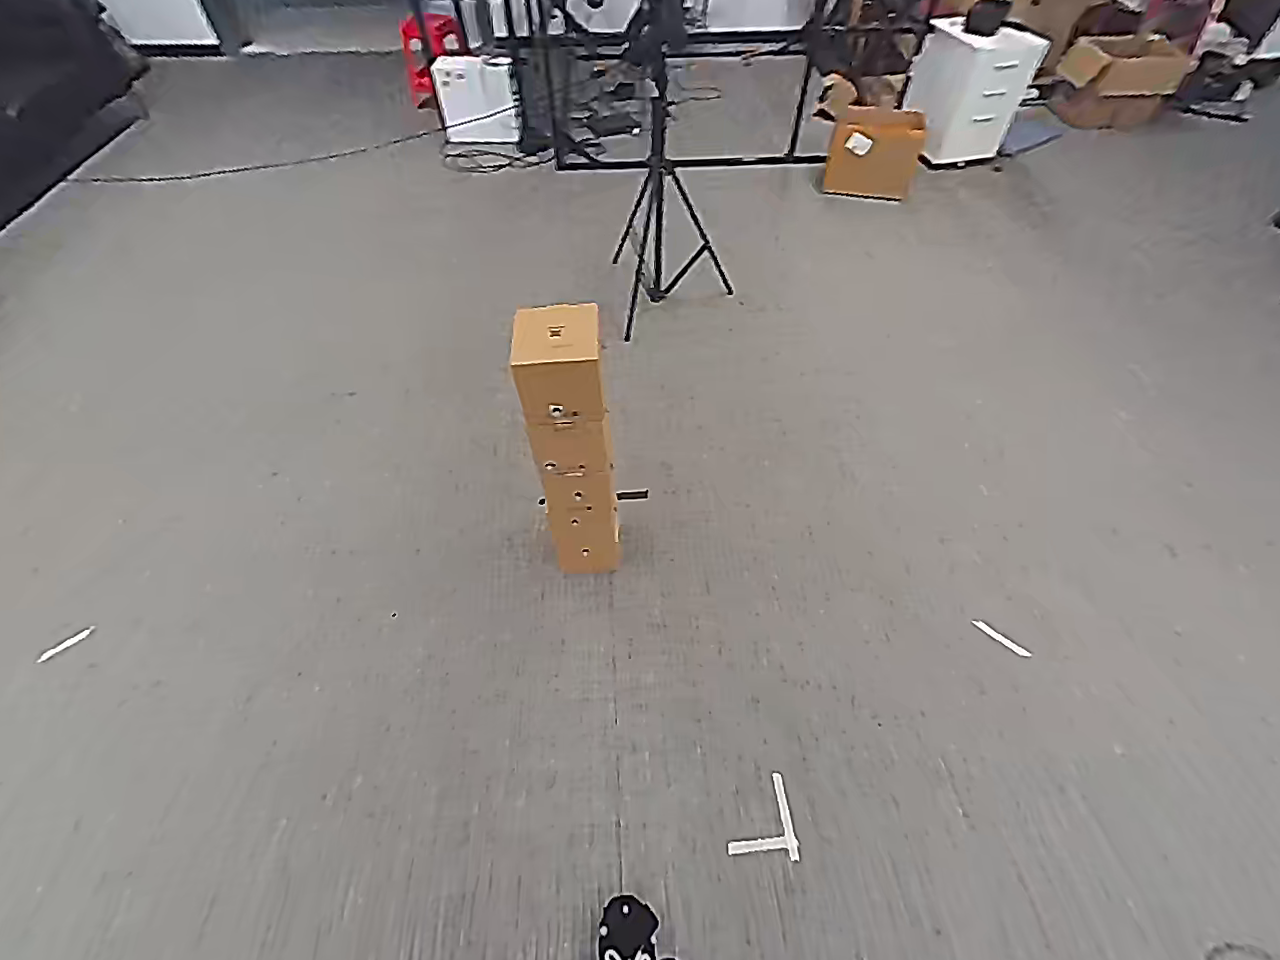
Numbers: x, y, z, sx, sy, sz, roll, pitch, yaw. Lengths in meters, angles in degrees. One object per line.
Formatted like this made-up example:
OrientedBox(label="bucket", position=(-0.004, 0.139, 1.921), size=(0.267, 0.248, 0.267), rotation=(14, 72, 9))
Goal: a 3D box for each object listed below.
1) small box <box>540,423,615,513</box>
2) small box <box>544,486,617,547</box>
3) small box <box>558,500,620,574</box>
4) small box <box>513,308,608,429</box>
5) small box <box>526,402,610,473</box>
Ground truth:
OrientedBox(label="small box", position=(-0.150, -0.026, 1.360), size=(0.168, 0.176, 0.179), rotation=(-2, 54, 0))
OrientedBox(label="small box", position=(-0.156, 0.076, 1.488), size=(0.179, 0.176, 0.168), rotation=(-1, 54, 0))
OrientedBox(label="small box", position=(-0.148, 0.172, 1.621), size=(0.179, 0.176, 0.168), rotation=(-3, 53, -1))
OrientedBox(label="small box", position=(-0.155, -0.226, 1.102), size=(0.168, 0.176, 0.179), rotation=(-4, 54, -1))
OrientedBox(label="small box", position=(-0.155, -0.127, 1.231), size=(0.168, 0.176, 0.179), rotation=(-2, 52, 0))
